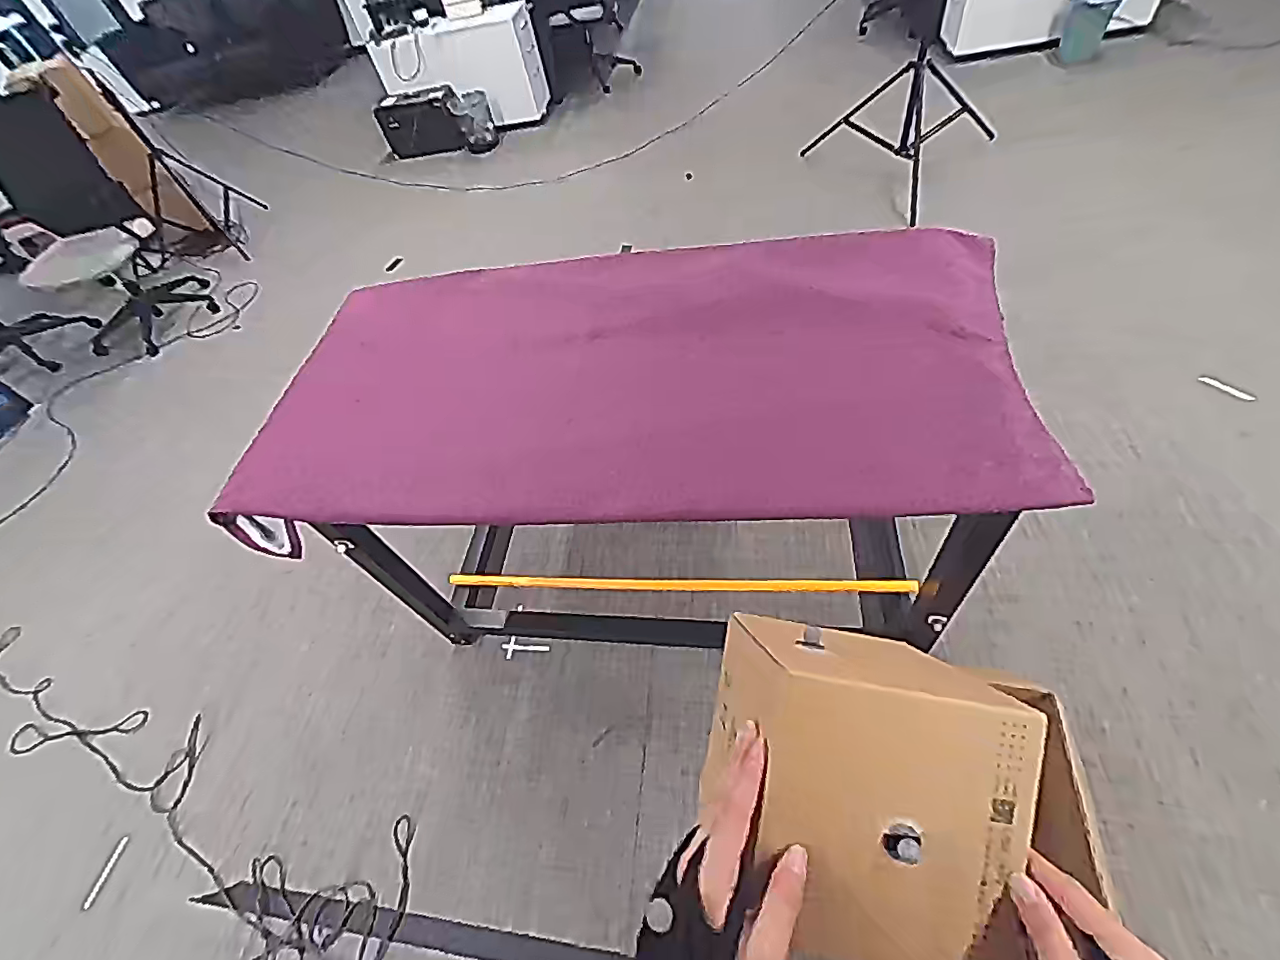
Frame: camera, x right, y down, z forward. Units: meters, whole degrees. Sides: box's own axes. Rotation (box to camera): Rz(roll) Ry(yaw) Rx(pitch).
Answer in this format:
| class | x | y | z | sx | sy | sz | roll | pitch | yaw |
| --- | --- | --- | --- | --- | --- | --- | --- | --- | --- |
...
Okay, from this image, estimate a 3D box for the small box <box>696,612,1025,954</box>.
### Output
| class | x | y | z | sx | sy | sz | roll | pitch | yaw |
| --- | --- | --- | --- | --- | --- | --- | --- | --- | --- |
| small box | 0.149 | 0.212 | 0.414 | 0.176 | 0.179 | 0.168 | 11 | 87 | -1 |
